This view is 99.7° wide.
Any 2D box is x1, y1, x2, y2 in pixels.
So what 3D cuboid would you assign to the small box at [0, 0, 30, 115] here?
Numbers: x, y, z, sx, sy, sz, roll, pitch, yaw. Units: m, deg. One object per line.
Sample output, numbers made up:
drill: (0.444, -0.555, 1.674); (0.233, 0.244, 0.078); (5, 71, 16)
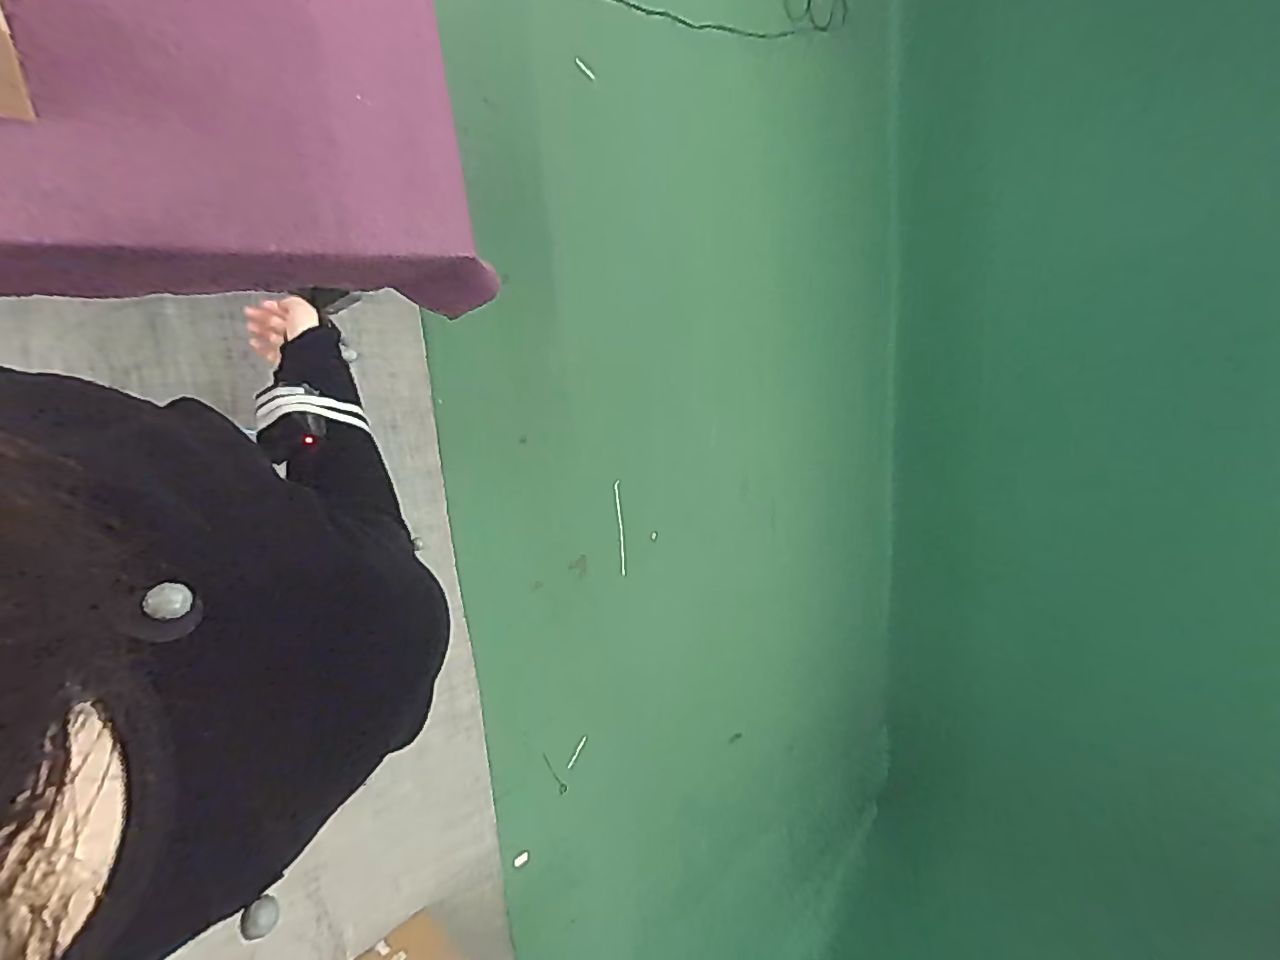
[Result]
small box: (-0.606, -0.403, 0.400); (0.179, 0.176, 0.168); (-19, 107, -40)
